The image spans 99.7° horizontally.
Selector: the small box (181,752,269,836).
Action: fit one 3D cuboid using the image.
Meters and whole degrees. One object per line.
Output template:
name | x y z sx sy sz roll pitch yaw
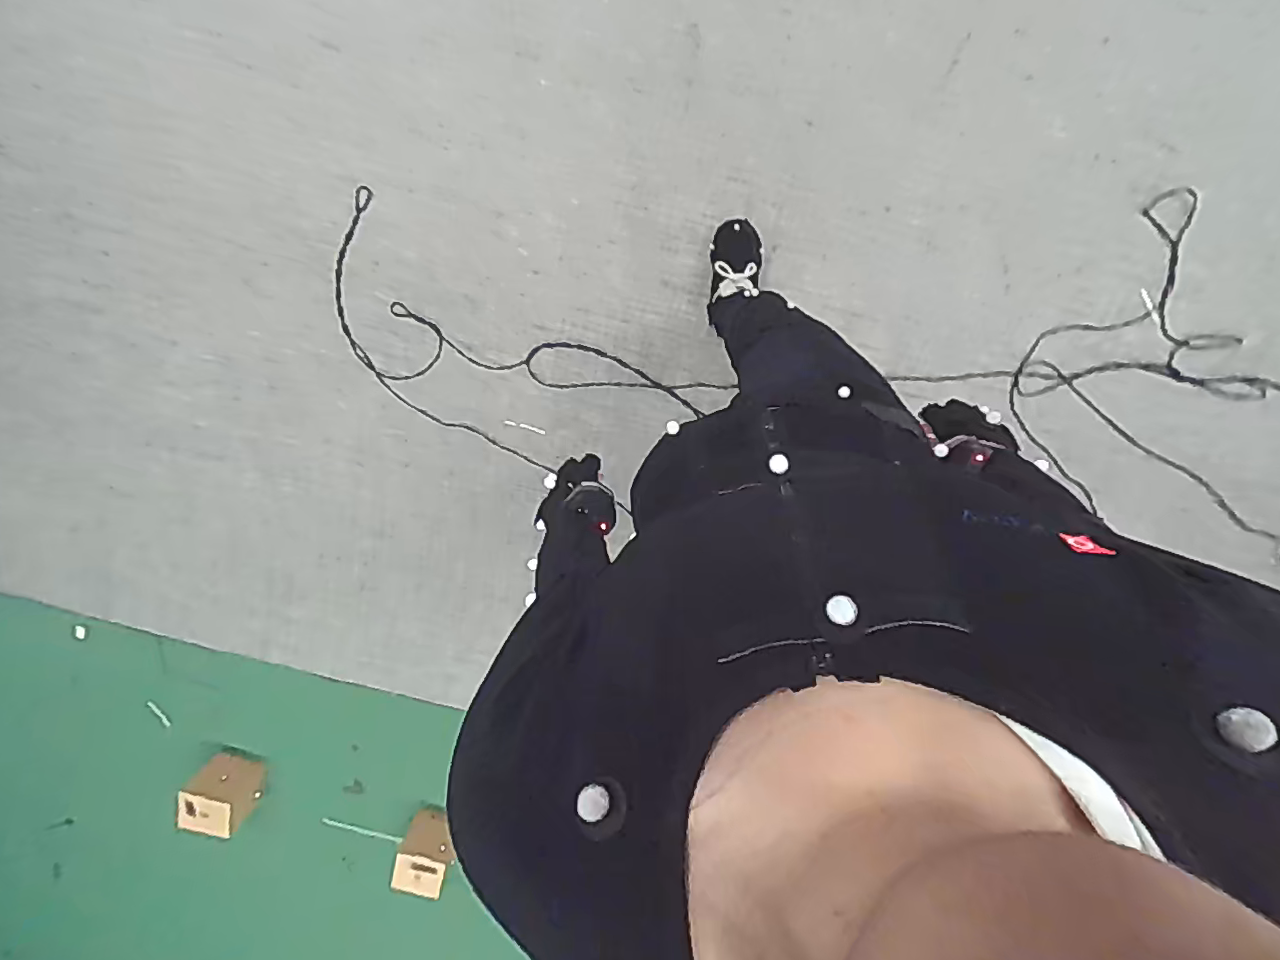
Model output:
small box | -1.428 1.077 1.866 0.179 0.176 0.168 16 109 -2
